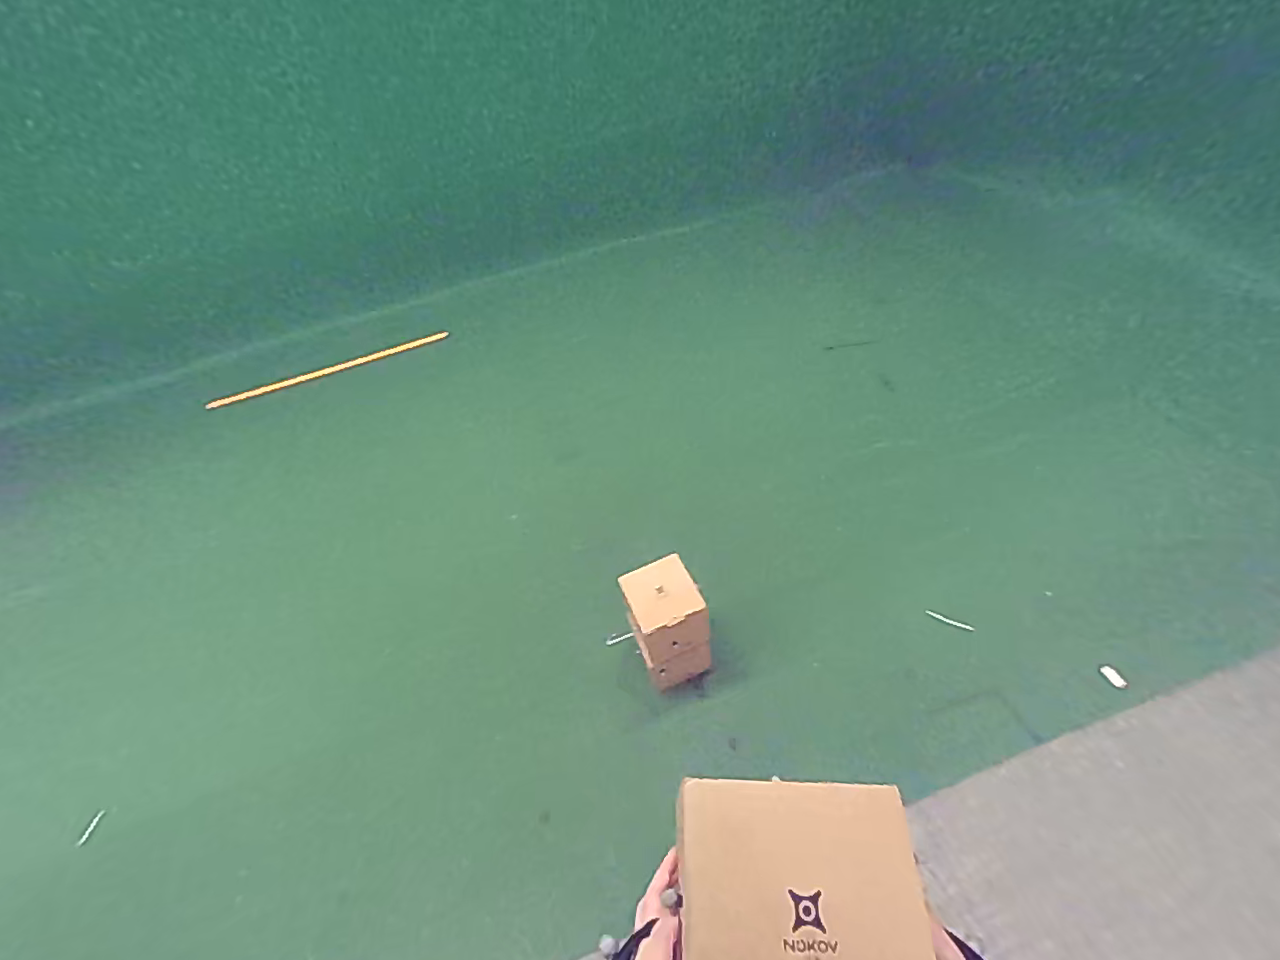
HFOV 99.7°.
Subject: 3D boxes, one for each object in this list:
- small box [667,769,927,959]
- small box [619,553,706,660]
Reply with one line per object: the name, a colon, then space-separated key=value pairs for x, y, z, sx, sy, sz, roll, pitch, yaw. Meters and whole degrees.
small box: x=0.107 y=0.346 z=0.430 sx=0.168 sy=0.176 sz=0.179 roll=1 pitch=53 yaw=2
small box: x=0.058 y=0.324 z=1.379 sx=0.168 sy=0.176 sz=0.179 roll=-21 pitch=49 yaw=-10
